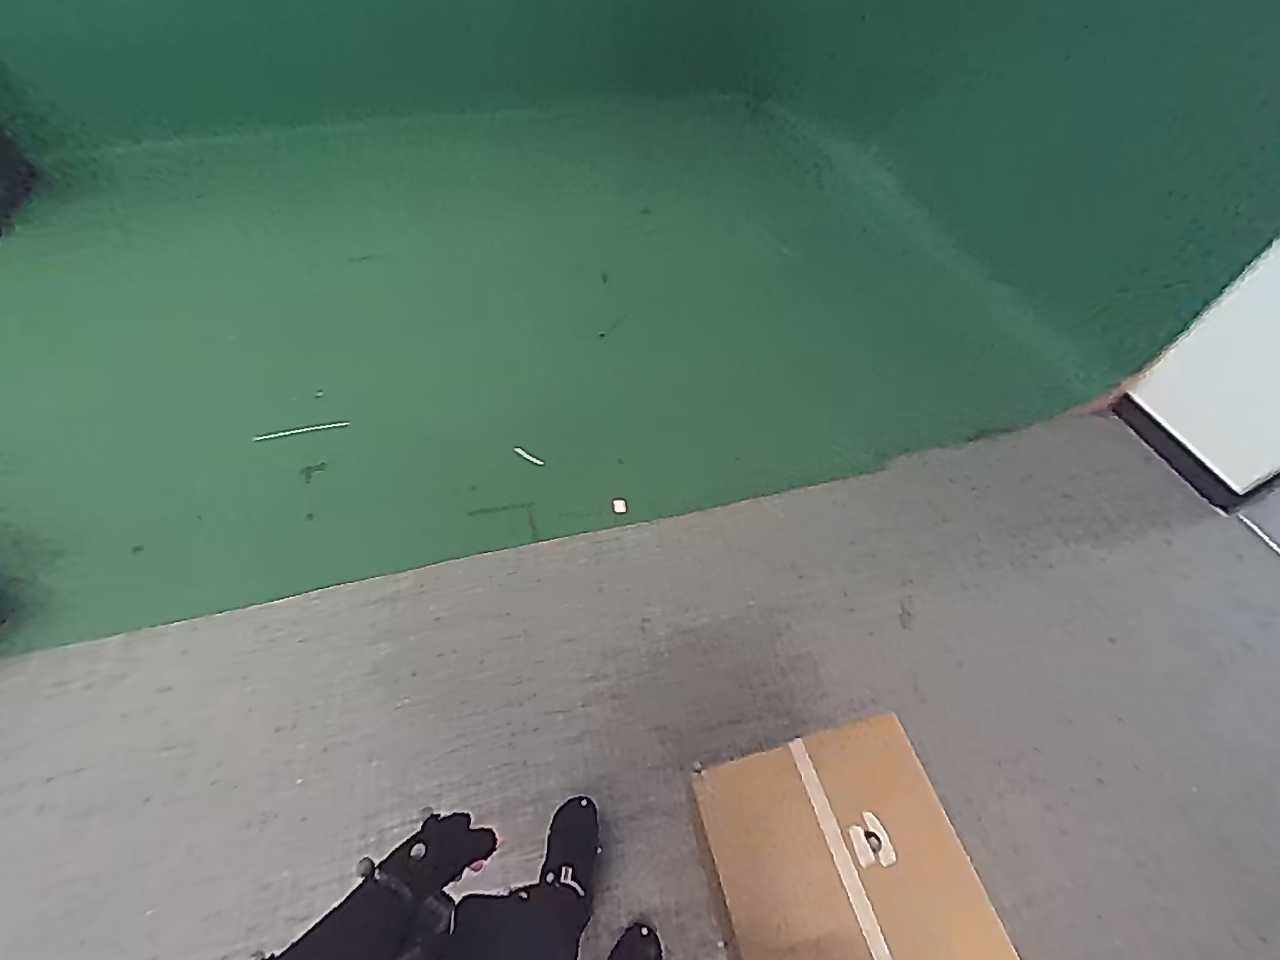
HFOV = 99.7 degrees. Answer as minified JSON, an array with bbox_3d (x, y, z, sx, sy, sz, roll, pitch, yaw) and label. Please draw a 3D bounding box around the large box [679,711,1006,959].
[{"bbox_3d":[0.261,0.611,0.777,0.320,0.320,0.408,-13,54,-6],"label":"large box"}]
